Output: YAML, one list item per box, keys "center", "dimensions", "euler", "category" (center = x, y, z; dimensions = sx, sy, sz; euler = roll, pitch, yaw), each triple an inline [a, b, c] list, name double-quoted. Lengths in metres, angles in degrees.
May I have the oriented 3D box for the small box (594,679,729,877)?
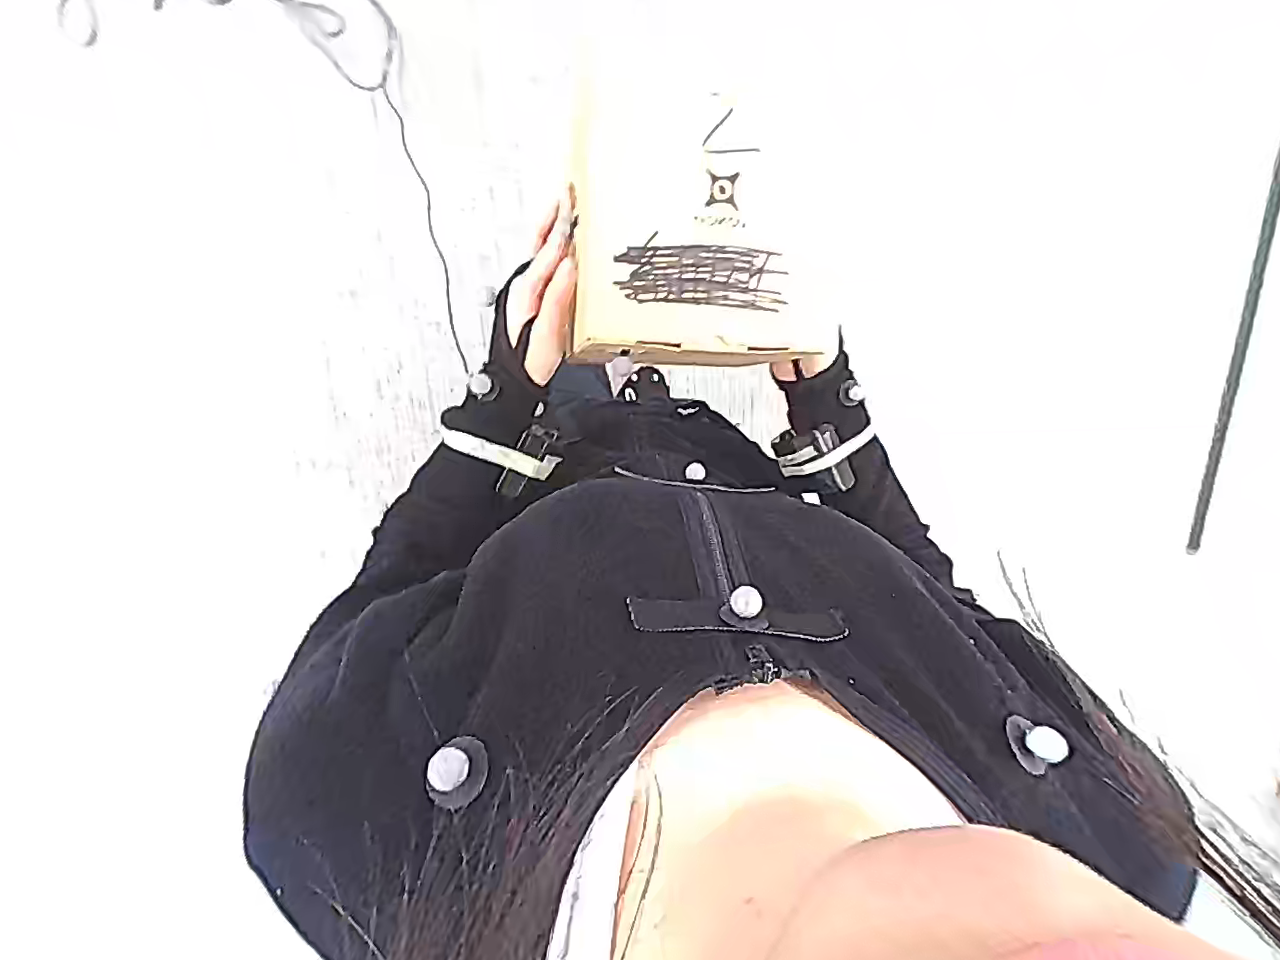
- center: [0.022, 0.390, 0.739]
  dimensions: [0.168, 0.176, 0.179]
  euler: [-3, 106, -3]
  category: "small box"

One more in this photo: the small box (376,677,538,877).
- center: [-0.227, 0.389, 0.718]
  dimensions: [0.168, 0.176, 0.179]
  euler: [-1, 105, -6]
  category: "small box"

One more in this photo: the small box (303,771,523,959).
- center: [-0.214, 0.428, 0.559]
  dimensions: [0.168, 0.176, 0.179]
  euler: [0, 107, -6]
  category: "small box"
